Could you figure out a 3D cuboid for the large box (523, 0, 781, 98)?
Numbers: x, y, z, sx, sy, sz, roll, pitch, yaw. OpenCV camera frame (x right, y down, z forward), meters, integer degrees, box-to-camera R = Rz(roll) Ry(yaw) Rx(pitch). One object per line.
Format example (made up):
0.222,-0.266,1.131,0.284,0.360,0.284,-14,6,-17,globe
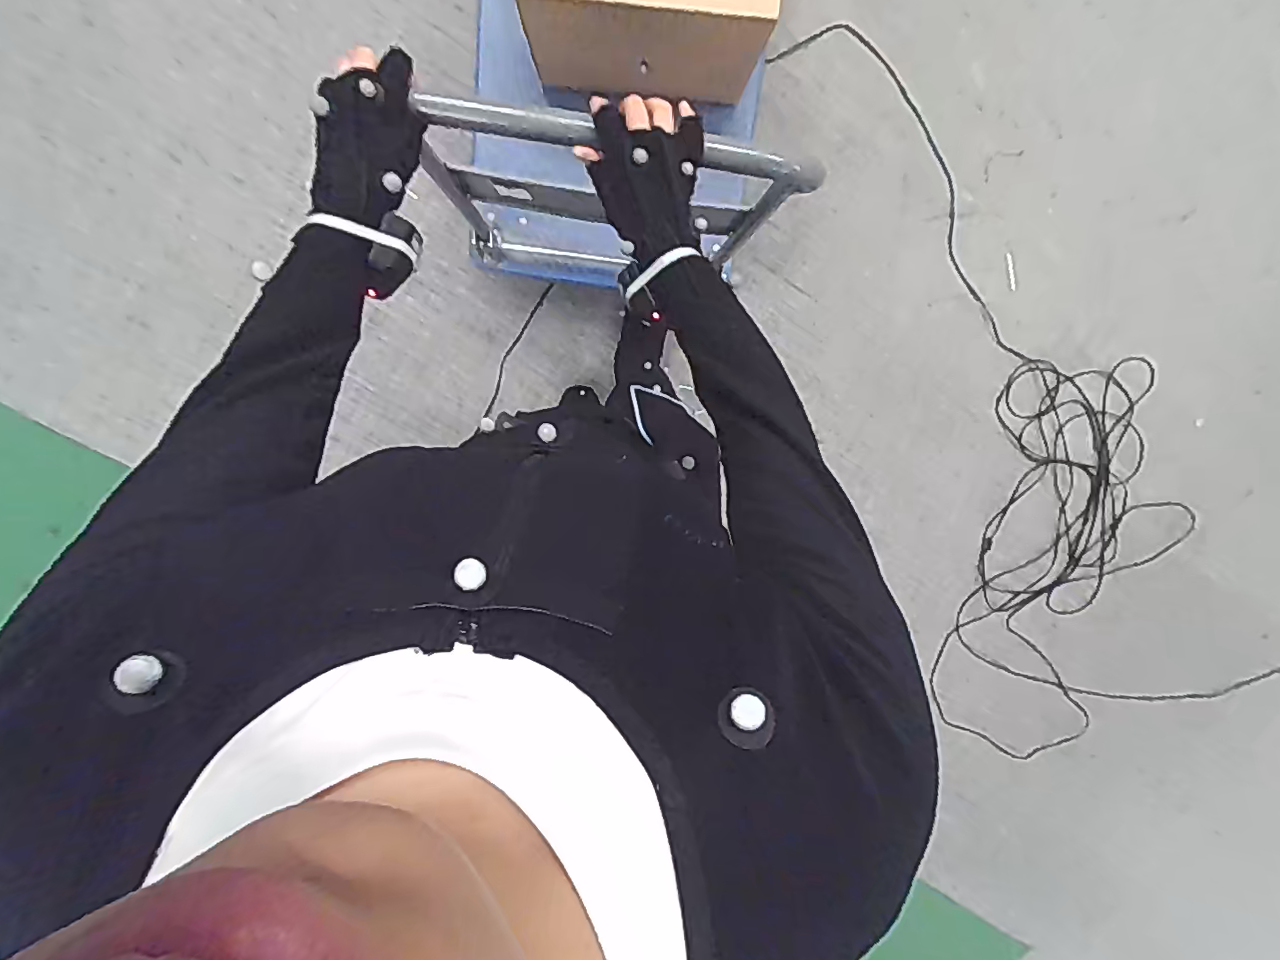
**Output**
0.025,-0.905,0.928,0.408,0.320,0.320,4,104,-3,large box
